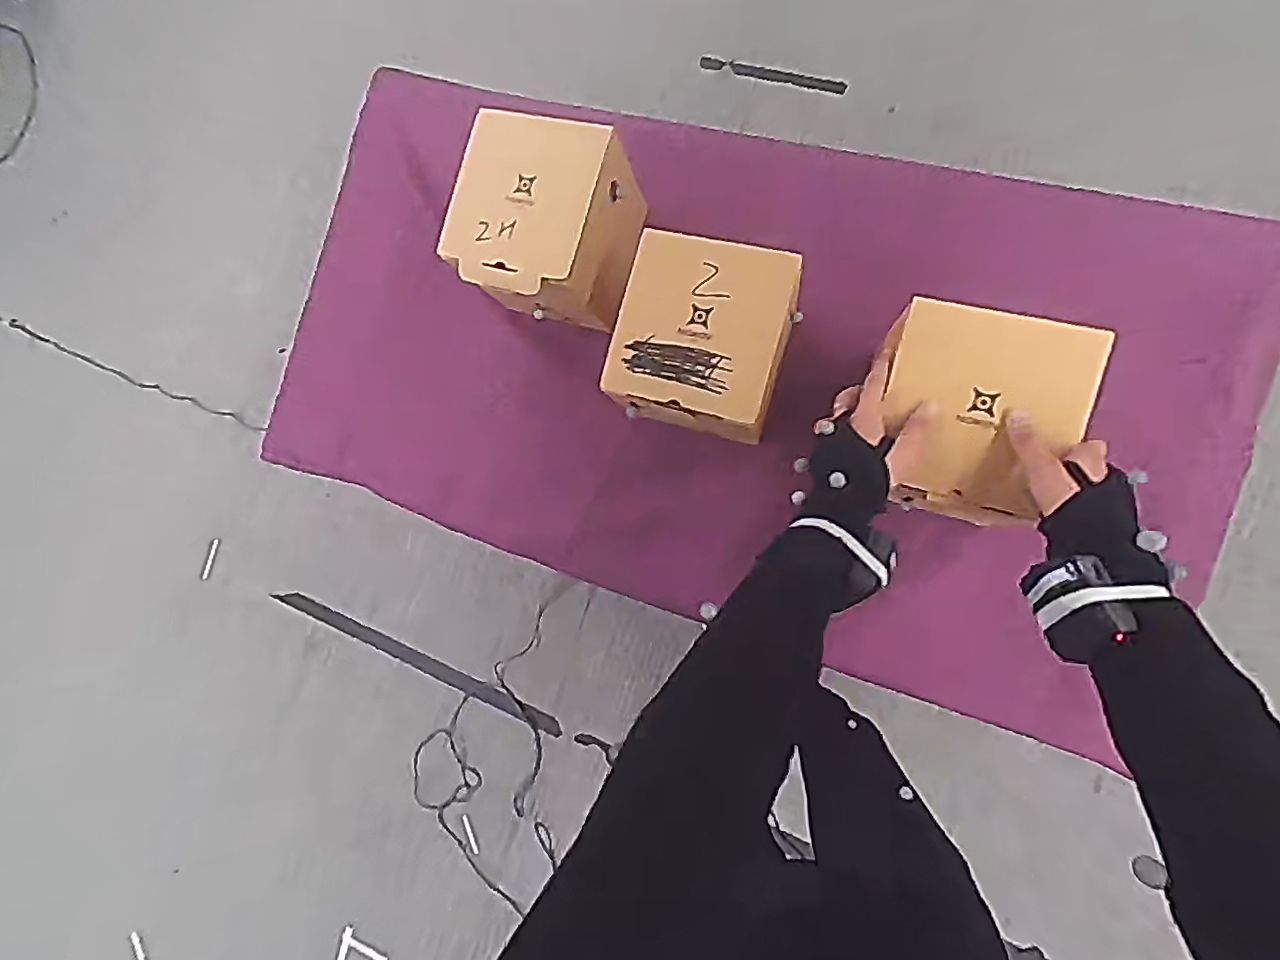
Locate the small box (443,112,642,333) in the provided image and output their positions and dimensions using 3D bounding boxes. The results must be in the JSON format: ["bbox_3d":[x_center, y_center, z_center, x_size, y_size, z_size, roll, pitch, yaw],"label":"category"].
[{"bbox_3d":[-0.106,-0.305,0.669,0.168,0.176,0.179,17,91,14],"label":"small box"}]

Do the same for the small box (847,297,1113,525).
[{"bbox_3d":[0.325,-0.062,0.559,0.168,0.176,0.179,15,92,14],"label":"small box"}]
